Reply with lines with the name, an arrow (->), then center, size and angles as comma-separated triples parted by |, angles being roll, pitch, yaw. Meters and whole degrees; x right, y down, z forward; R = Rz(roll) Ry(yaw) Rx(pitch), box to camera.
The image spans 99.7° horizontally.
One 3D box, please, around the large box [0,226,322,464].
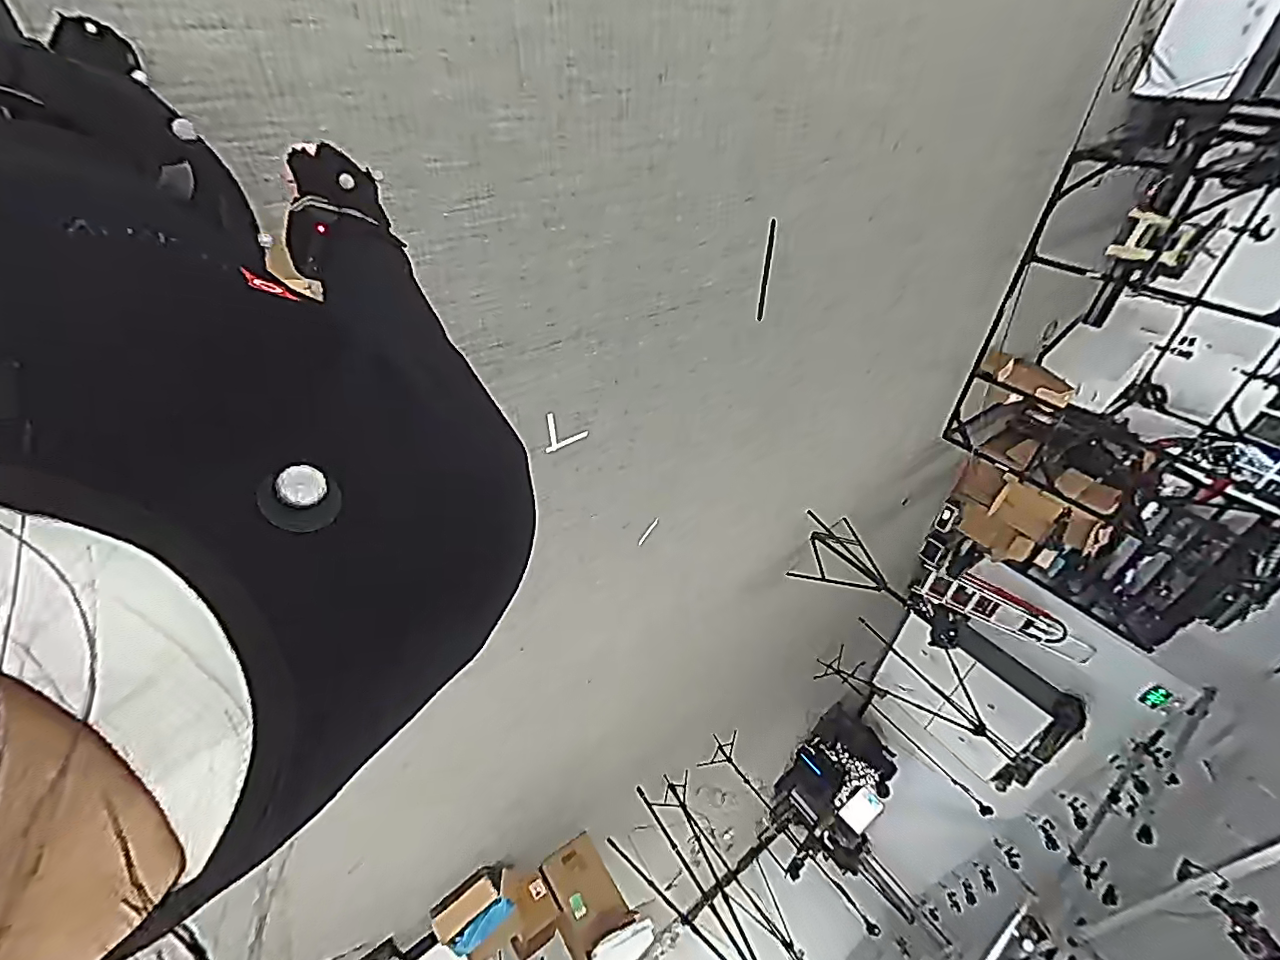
large box -> -0.876, -0.271, 1.010 | 0.408, 0.320, 0.320 | -16, 132, -37
